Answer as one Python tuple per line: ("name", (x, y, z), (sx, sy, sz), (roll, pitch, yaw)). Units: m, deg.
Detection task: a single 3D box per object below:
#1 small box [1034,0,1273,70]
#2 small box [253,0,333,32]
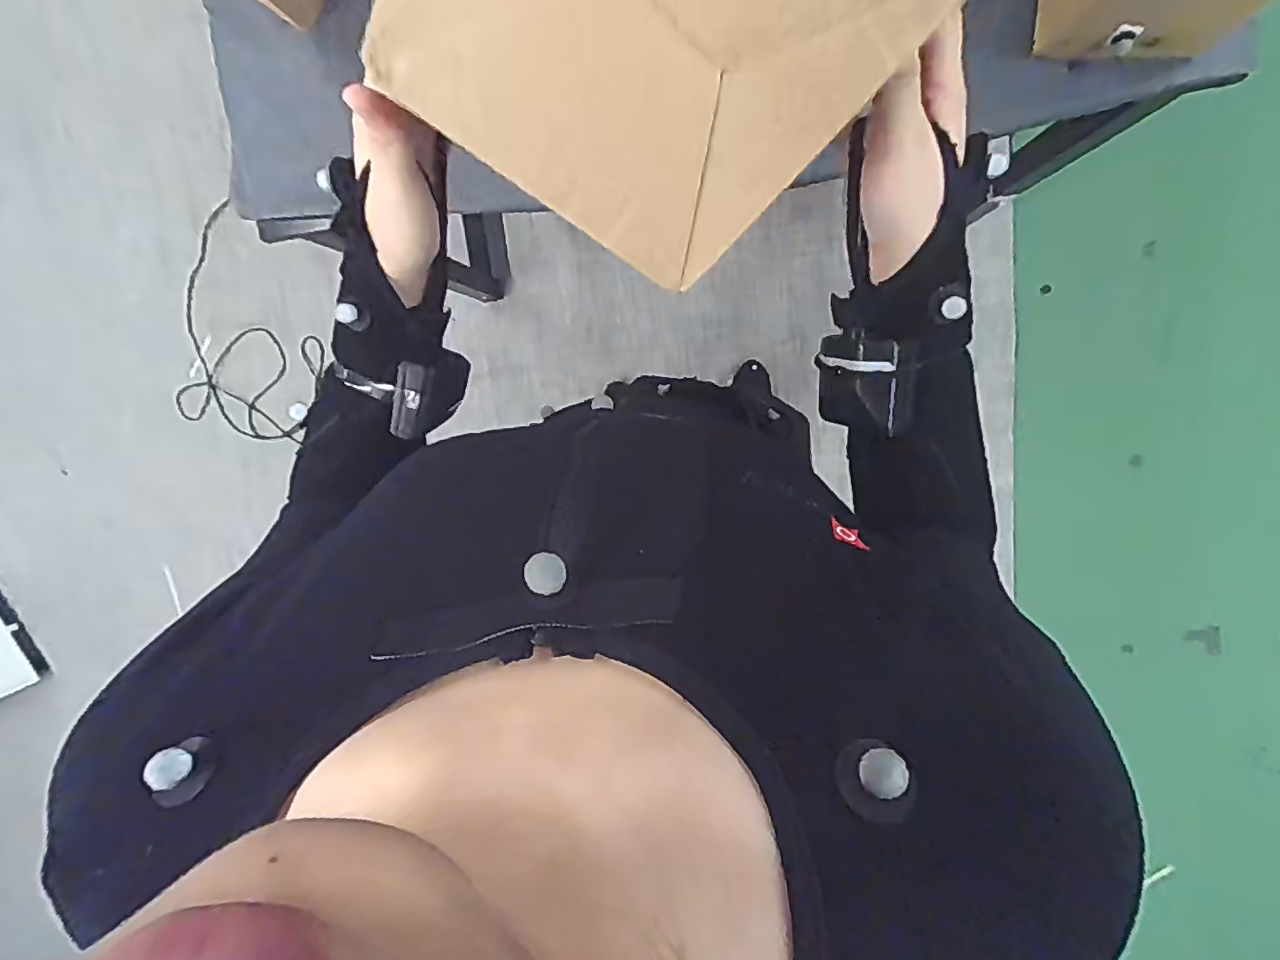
("small box", (0.506, -0.527, 0.502), (0.168, 0.176, 0.179), (4, 97, 8))
("small box", (-0.459, -0.668, 0.608), (0.179, 0.176, 0.168), (35, 102, 0))
